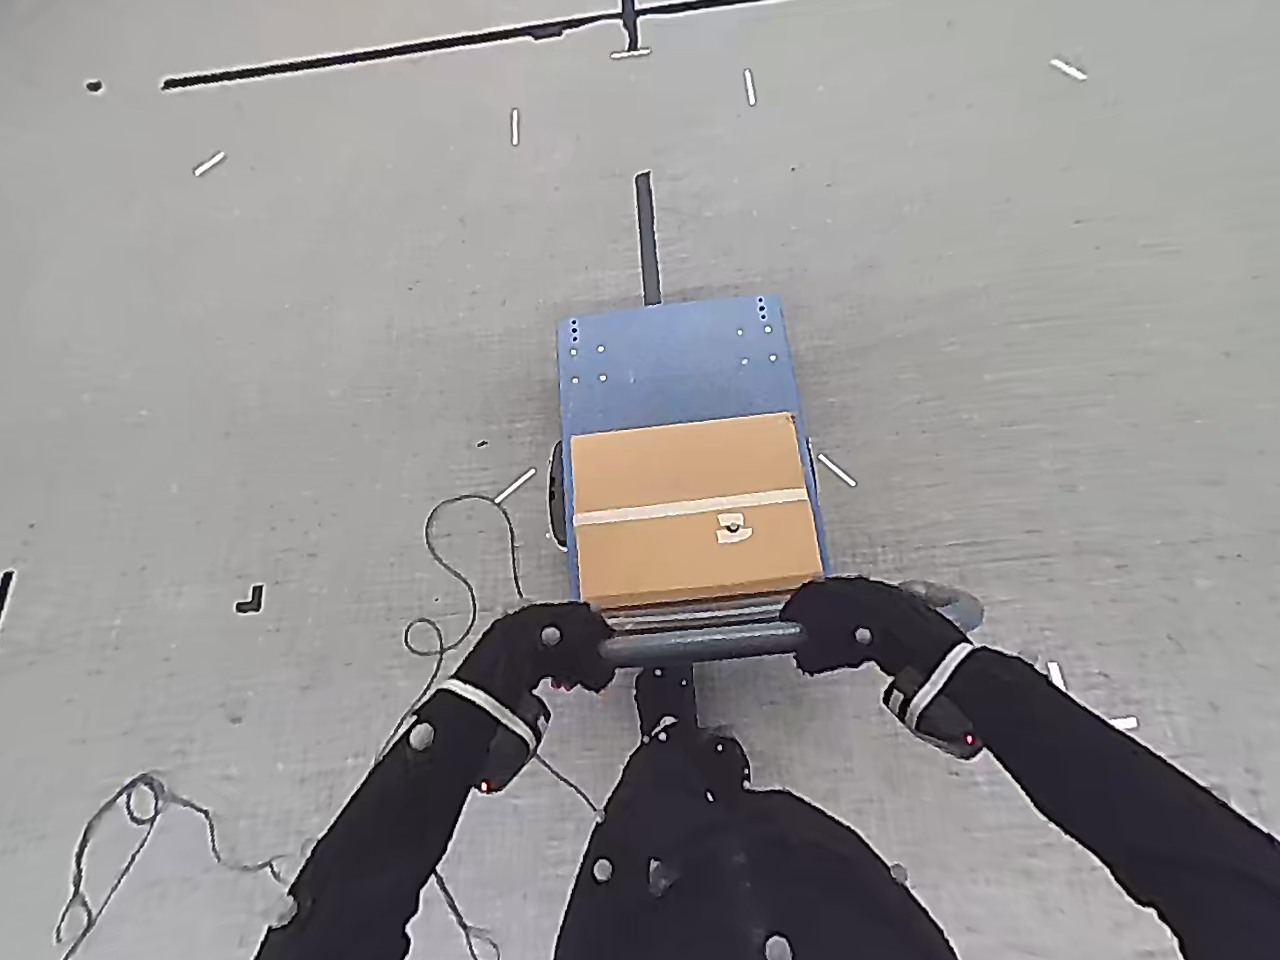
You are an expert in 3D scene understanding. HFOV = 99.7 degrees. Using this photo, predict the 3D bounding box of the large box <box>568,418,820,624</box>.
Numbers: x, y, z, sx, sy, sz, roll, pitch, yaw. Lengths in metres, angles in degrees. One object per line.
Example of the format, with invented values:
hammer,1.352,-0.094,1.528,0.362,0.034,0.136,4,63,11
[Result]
large box,0.090,0.100,1.070,0.408,0.320,0.320,-7,74,1
